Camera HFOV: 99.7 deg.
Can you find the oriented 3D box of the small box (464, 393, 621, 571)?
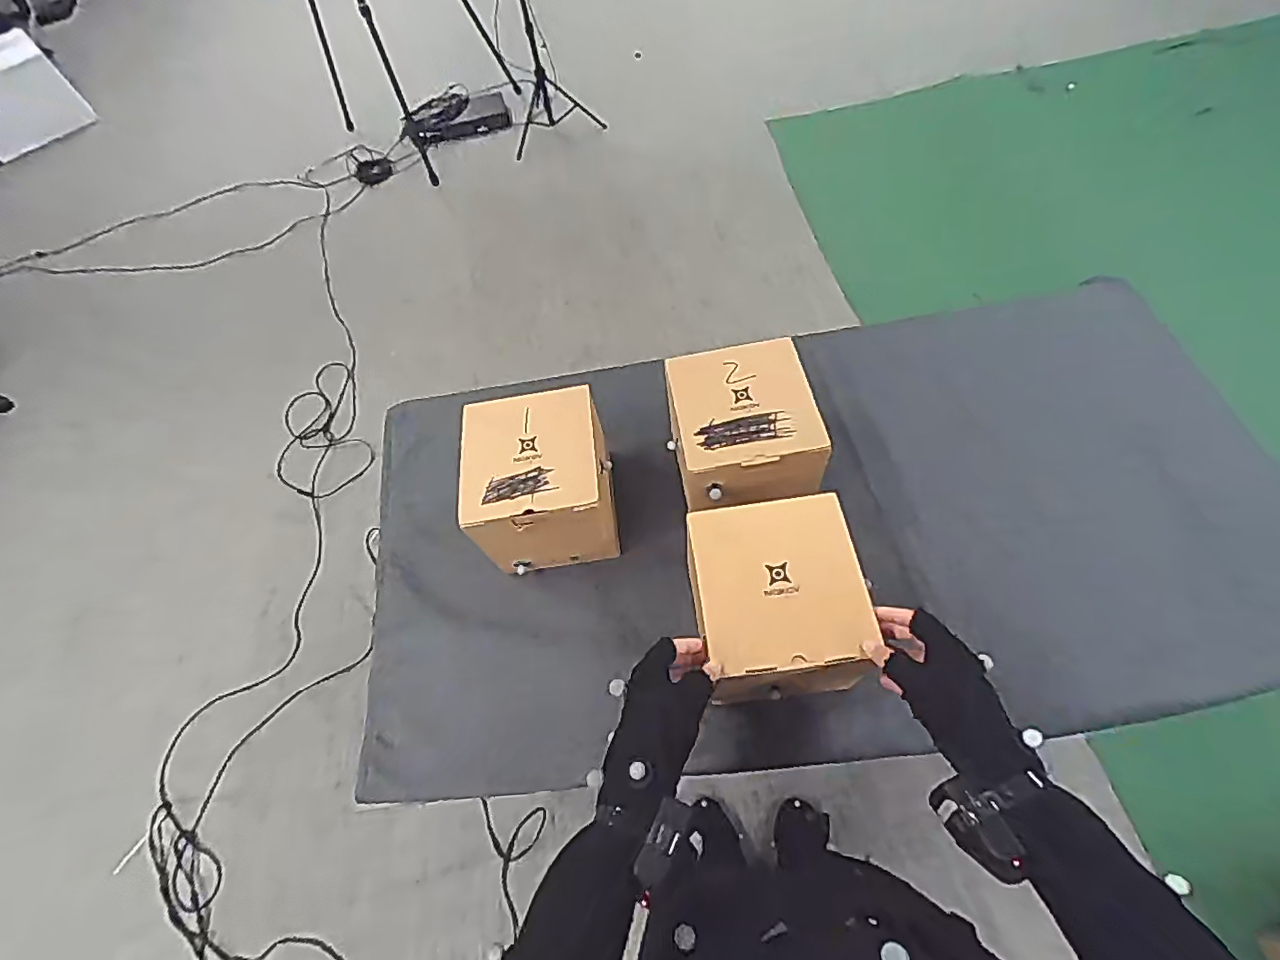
[{"bbox_3d":[-0.123,0.012,0.728,0.168,0.176,0.179,-9,59,2],"label":"small box"}]

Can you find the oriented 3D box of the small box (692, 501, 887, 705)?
[{"bbox_3d":[0.151,0.146,0.619,0.168,0.176,0.179,-8,60,3],"label":"small box"}]
